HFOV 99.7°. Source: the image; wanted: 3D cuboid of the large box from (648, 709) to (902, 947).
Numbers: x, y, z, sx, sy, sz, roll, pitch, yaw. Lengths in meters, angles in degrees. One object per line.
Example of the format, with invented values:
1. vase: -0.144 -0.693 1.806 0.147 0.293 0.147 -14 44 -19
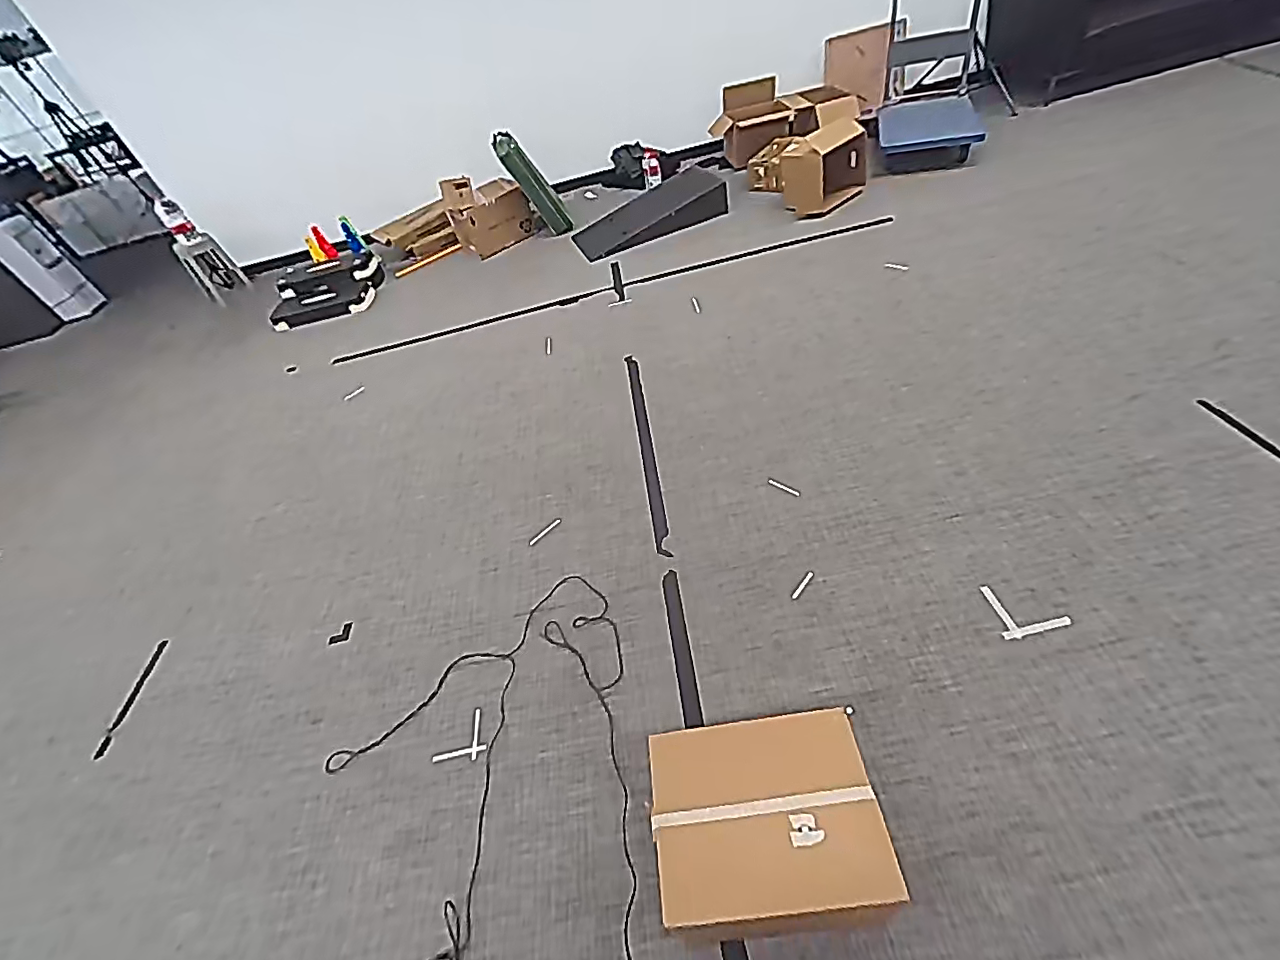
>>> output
1. large box: 0.247 0.710 1.099 0.408 0.320 0.320 -10 45 4
